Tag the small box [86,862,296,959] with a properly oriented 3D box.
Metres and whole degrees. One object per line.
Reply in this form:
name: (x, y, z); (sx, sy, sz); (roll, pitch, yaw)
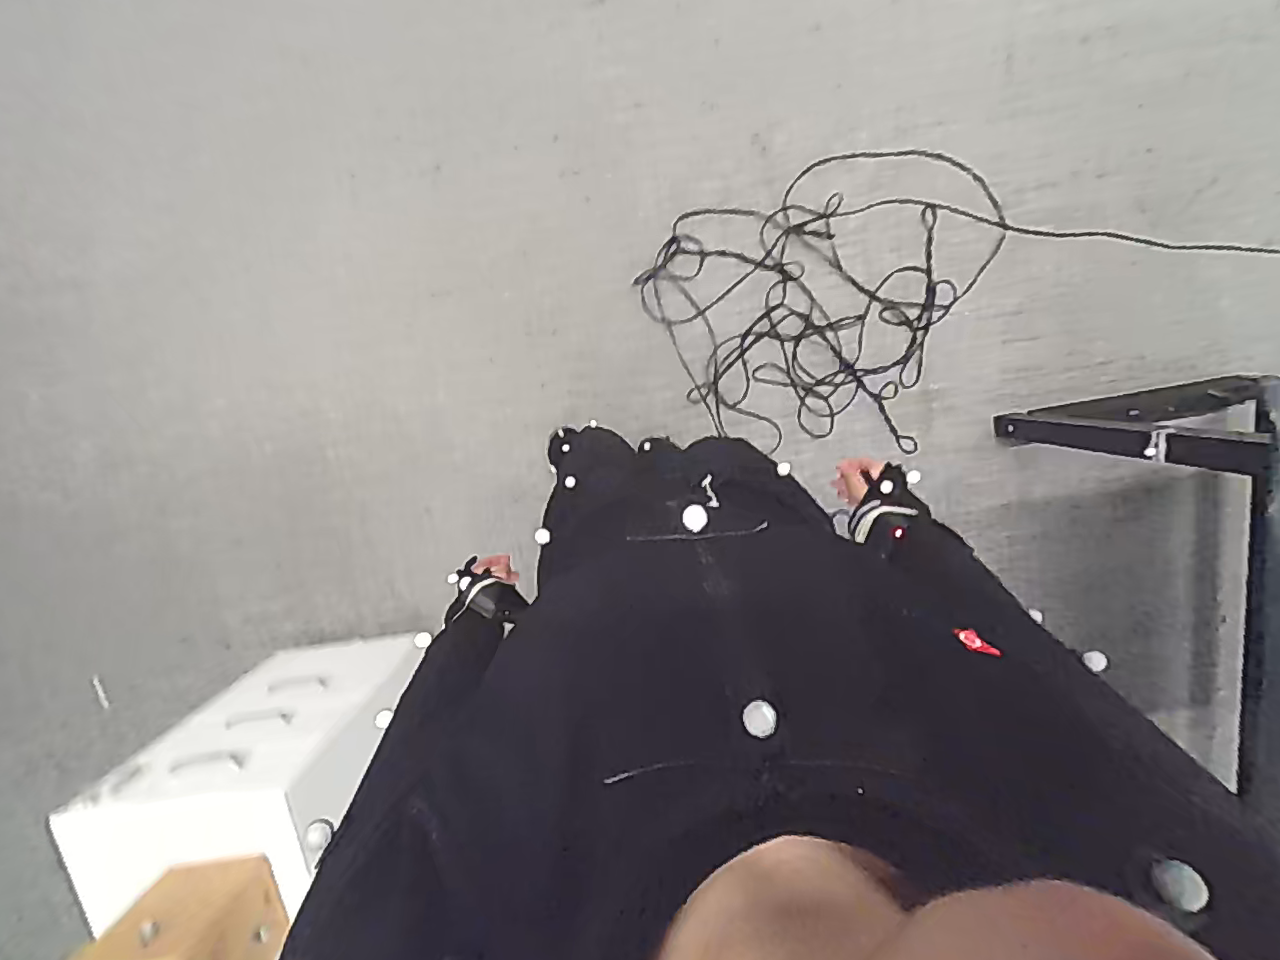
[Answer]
small box: (-0.672, 0.723, 0.817); (0.179, 0.176, 0.168); (-10, 100, 3)
